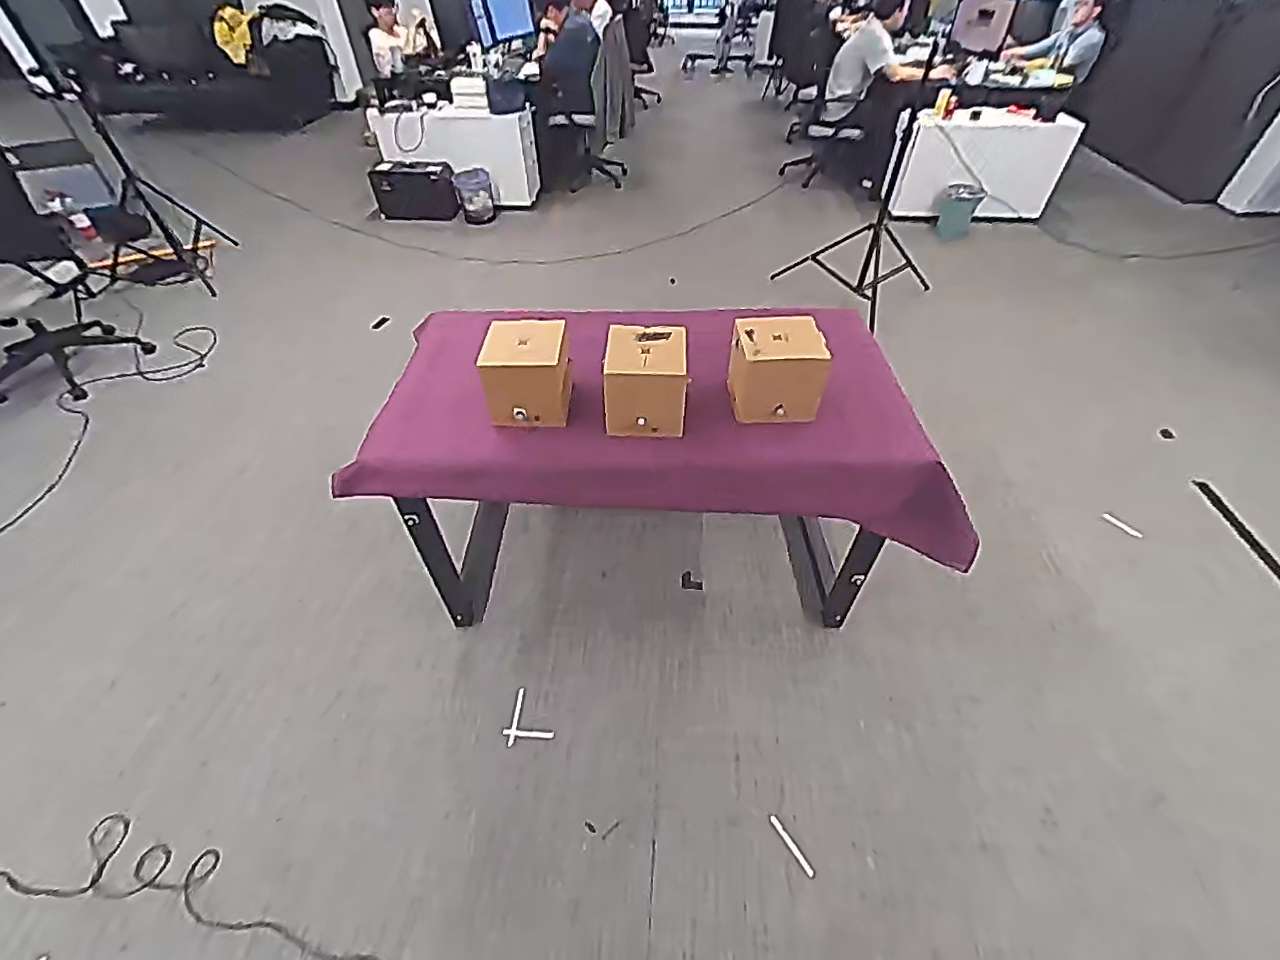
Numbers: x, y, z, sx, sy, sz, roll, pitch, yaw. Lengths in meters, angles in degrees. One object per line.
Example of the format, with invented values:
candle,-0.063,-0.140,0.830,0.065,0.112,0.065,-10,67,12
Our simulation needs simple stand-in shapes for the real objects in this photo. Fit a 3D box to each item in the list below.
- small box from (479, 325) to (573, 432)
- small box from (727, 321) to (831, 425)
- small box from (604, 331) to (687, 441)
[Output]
small box,-0.243,-0.227,1.202,0.168,0.176,0.179,-1,46,1
small box,0.300,-0.237,1.206,0.179,0.176,0.168,-1,45,-1
small box,0.014,-0.206,1.178,0.168,0.176,0.179,1,46,2
